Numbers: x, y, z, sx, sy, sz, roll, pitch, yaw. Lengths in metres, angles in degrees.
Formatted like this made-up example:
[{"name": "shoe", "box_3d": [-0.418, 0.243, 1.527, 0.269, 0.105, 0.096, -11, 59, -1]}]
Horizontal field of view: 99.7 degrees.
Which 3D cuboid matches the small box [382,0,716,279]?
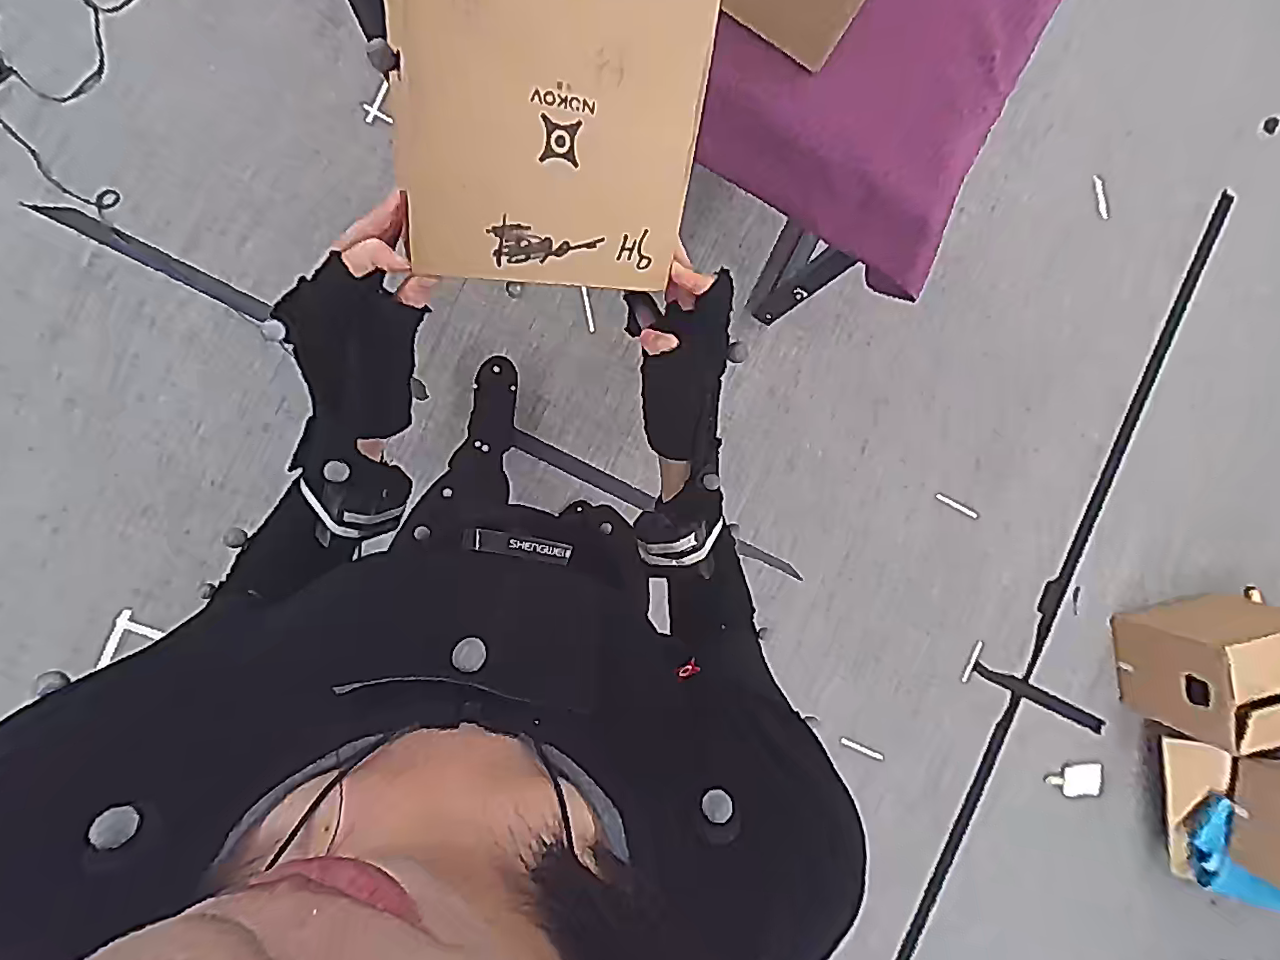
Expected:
[{"name": "small box", "box_3d": [-0.073, -0.246, 0.352, 0.168, 0.176, 0.179, -4, 124, -23]}]
